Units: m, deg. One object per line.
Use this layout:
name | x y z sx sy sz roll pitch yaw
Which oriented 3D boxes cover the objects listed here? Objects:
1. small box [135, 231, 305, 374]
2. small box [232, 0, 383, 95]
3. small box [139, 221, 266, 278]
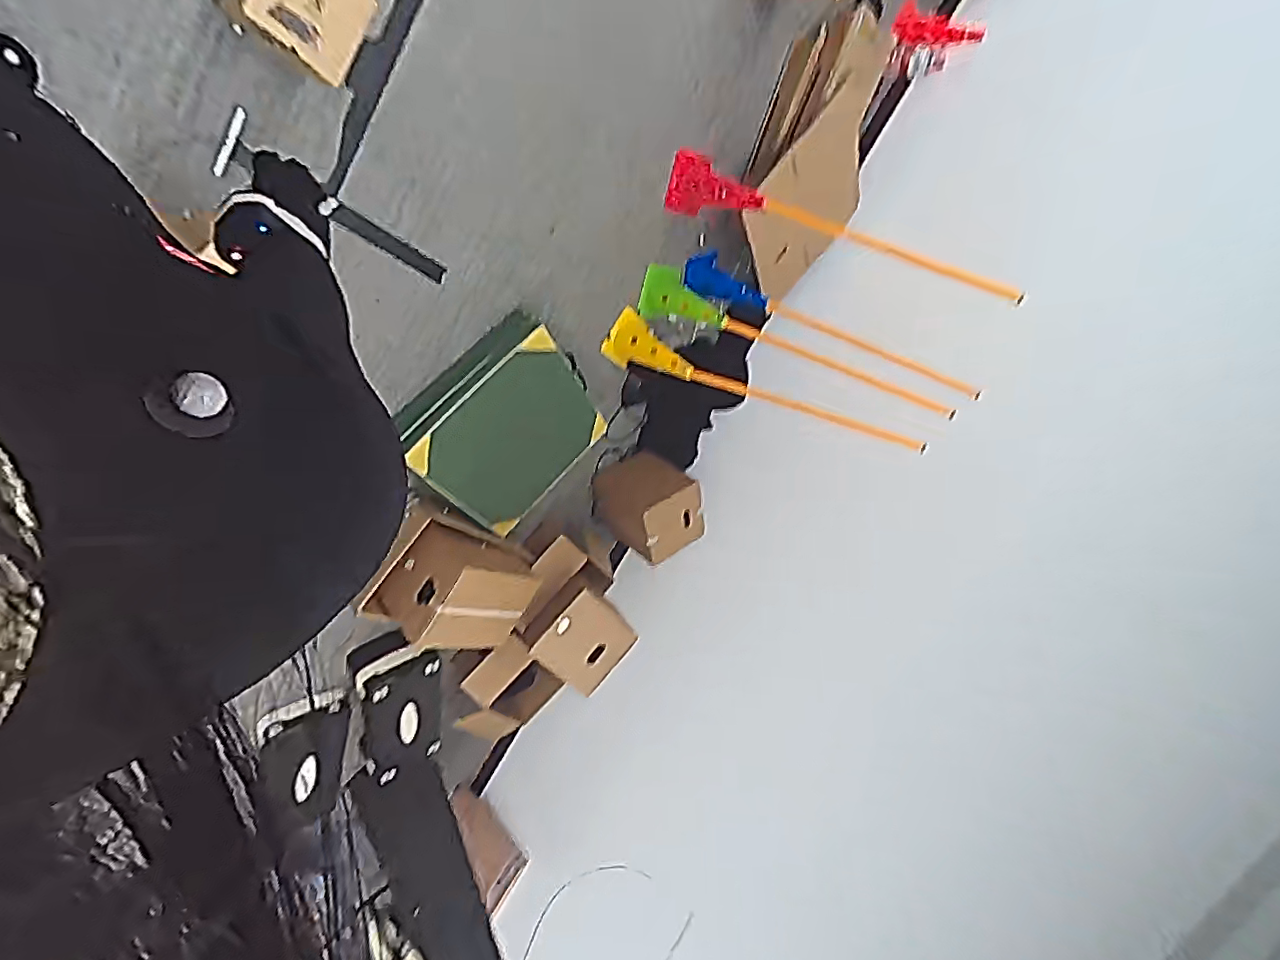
small box | -0.781 -0.336 1.007 0.168 0.176 0.179 -45 147 -10
small box | -0.625 -0.870 1.010 0.179 0.176 0.168 -58 147 6
small box | -0.883 -0.422 1.107 0.168 0.176 0.179 -23 137 -38
